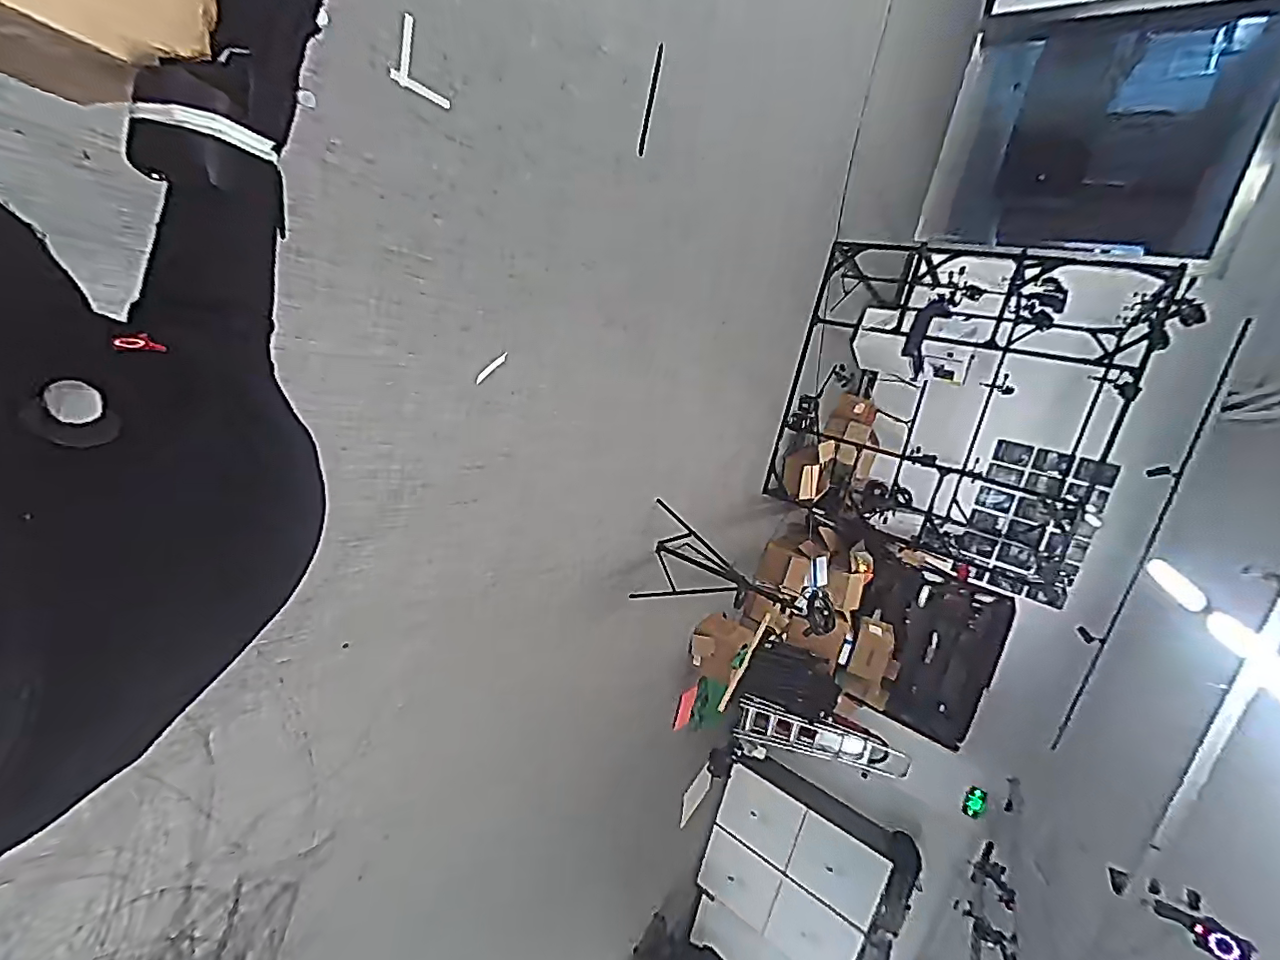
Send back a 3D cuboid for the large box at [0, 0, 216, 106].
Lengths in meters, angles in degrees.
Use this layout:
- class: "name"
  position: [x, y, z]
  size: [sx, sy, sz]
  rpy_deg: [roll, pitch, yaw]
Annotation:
- class: "large box"
  position: [-0.497, -0.453, 0.264]
  size: [0.408, 0.320, 0.320]
  rpy_deg: [-2, 113, -58]
